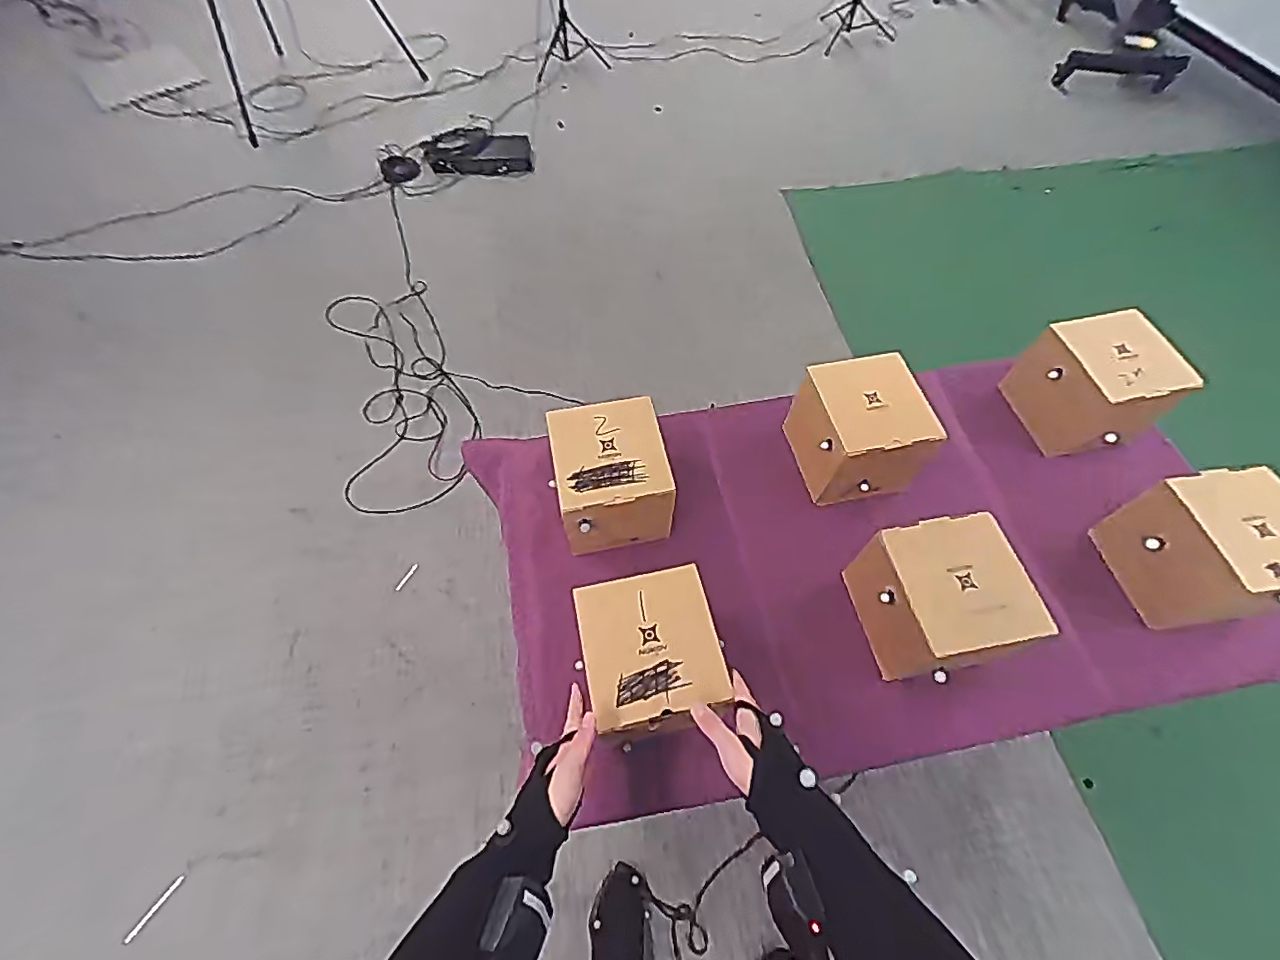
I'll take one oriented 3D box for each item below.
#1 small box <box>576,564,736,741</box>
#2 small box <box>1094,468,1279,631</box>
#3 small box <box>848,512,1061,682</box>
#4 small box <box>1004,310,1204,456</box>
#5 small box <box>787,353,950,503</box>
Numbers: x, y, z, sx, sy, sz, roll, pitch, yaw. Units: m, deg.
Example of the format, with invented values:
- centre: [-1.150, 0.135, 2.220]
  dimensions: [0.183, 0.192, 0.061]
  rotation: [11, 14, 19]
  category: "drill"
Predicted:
- centre: [0.015, 0.236, 0.717]
  dimensions: [0.168, 0.176, 0.179]
  rotation: [-10, 59, -7]
  category: "small box"
- centre: [0.844, 0.106, 0.803]
  dimensions: [0.168, 0.176, 0.179]
  rotation: [-7, 58, -3]
  category: "small box"
- centre: [0.421, 0.169, 0.764]
  dimensions: [0.168, 0.176, 0.179]
  rotation: [-8, 60, -5]
  category: "small box"
- centre: [0.799, -0.168, 0.958]
  dimensions: [0.168, 0.176, 0.179]
  rotation: [-11, 62, -4]
  category: "small box"
- centre: [0.367, -0.084, 0.911]
  dimensions: [0.168, 0.176, 0.179]
  rotation: [-10, 62, -7]
  category: "small box"
